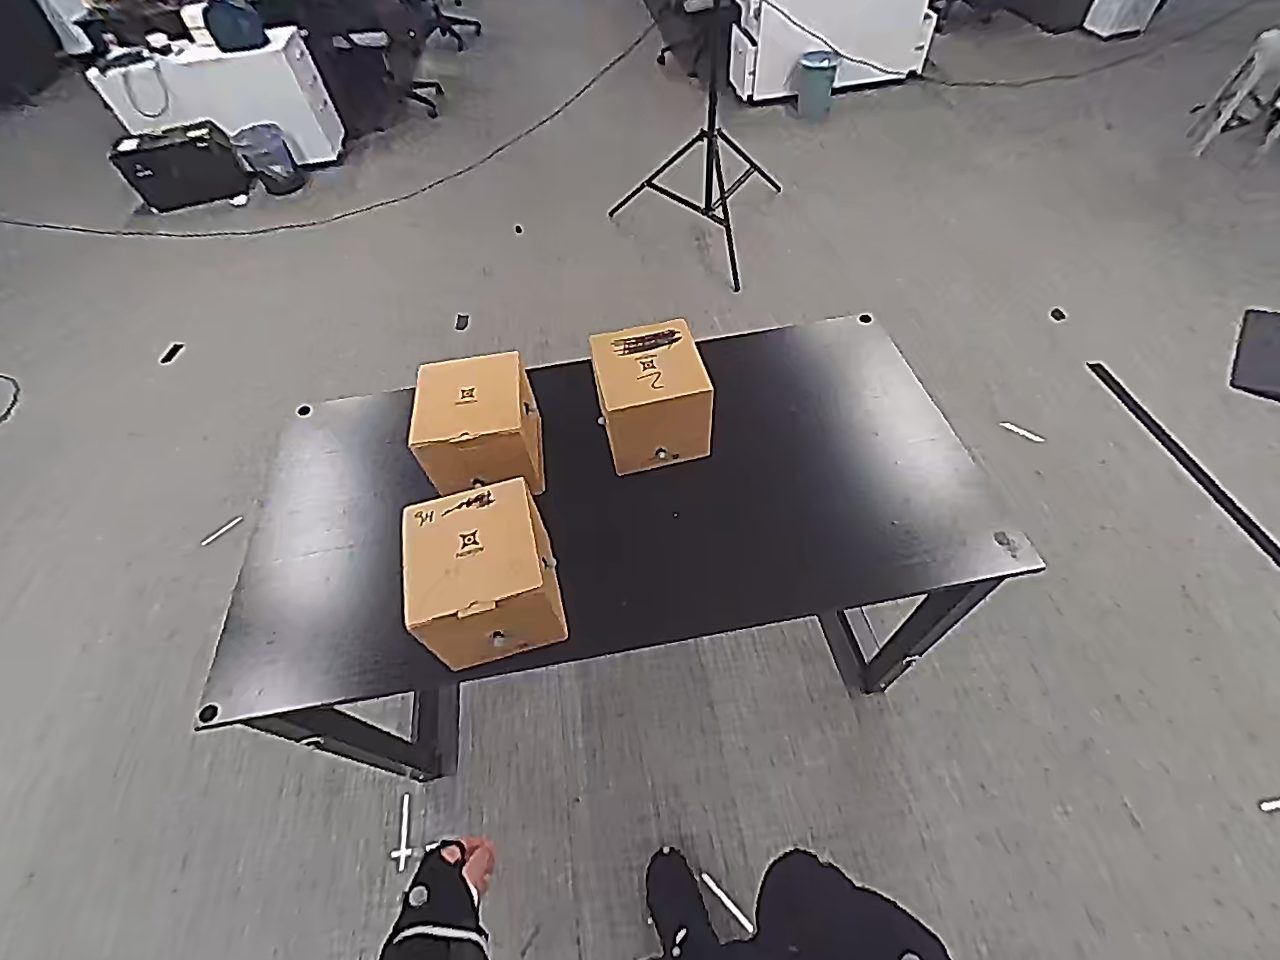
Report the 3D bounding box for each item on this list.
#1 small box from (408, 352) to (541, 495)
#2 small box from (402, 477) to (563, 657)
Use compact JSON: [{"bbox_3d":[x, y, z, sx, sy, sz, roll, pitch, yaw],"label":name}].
[{"bbox_3d":[-0.265,-0.084,0.906,0.168,0.176,0.179,-9,55,-2],"label":"small box"},{"bbox_3d":[-0.212,0.129,0.746,0.168,0.176,0.179,-15,55,-6],"label":"small box"}]
